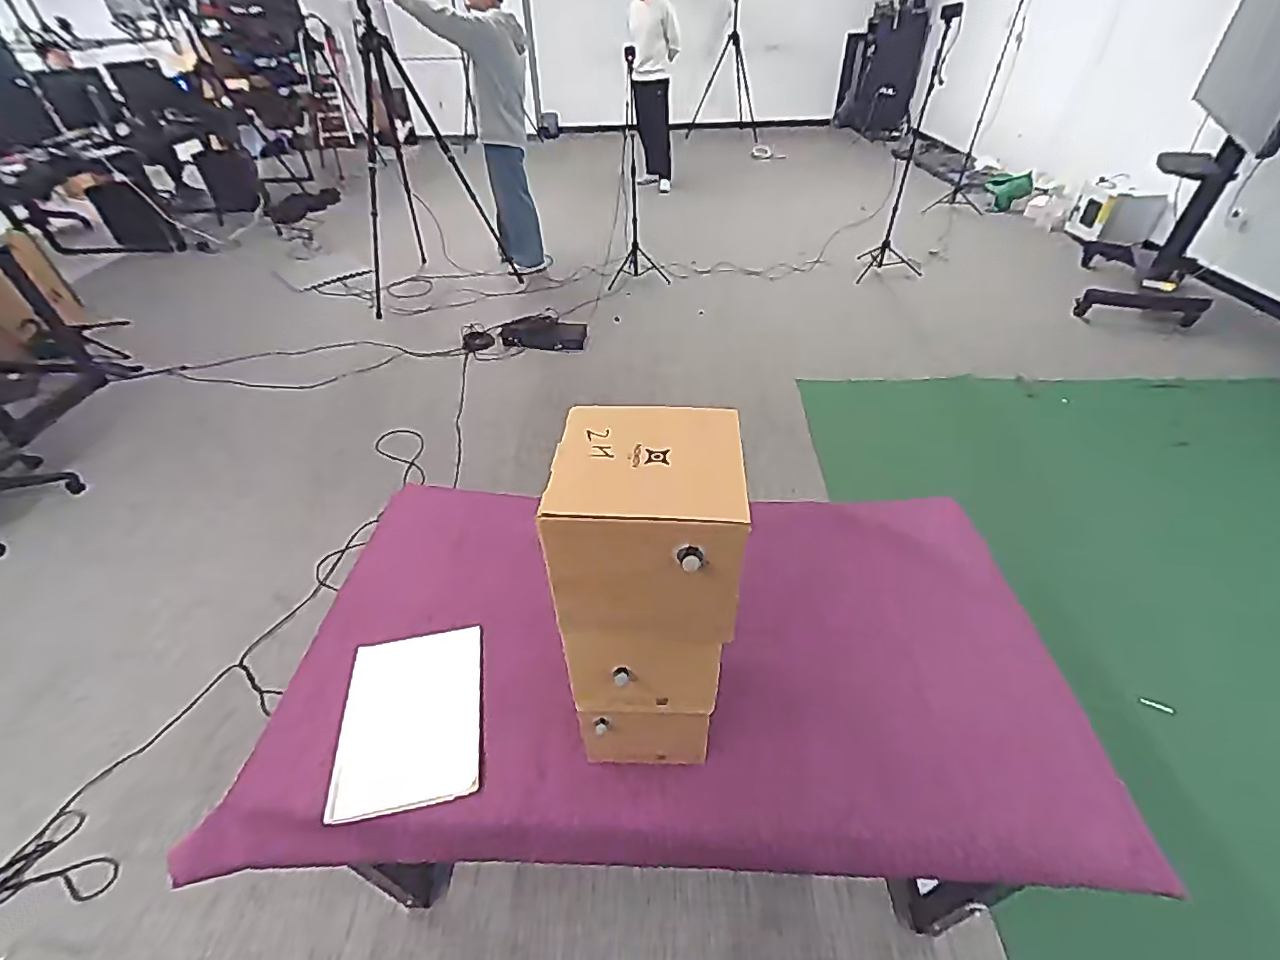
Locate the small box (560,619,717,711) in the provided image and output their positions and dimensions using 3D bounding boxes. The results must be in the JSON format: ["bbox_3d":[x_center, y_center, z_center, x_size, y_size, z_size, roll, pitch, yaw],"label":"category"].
[{"bbox_3d":[0.005,0.162,0.661,0.168,0.176,0.179,1,40,3],"label":"small box"}]

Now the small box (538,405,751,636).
[{"bbox_3d":[0.010,0.041,0.548,0.179,0.176,0.168,2,40,4],"label":"small box"}]
